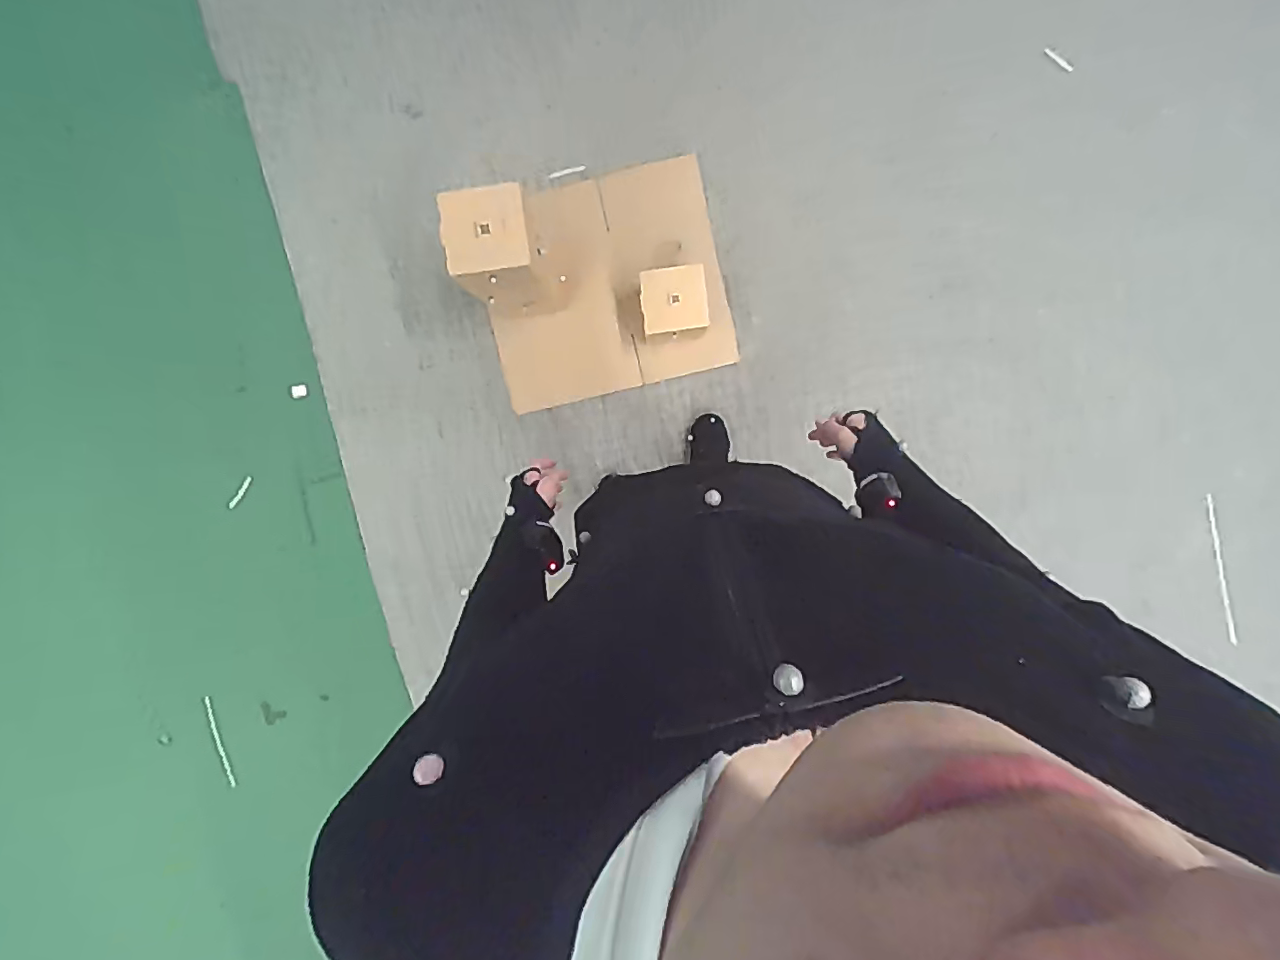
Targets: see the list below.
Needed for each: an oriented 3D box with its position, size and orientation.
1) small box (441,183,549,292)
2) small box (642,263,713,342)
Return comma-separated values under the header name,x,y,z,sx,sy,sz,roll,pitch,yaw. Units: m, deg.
name,x,y,z,sx,sy,sz,roll,pitch,yaw
small box,-0.311,-0.522,1.188,0.179,0.176,0.168,-6,96,2
small box,0.103,-0.488,1.506,0.179,0.176,0.168,-7,95,4
